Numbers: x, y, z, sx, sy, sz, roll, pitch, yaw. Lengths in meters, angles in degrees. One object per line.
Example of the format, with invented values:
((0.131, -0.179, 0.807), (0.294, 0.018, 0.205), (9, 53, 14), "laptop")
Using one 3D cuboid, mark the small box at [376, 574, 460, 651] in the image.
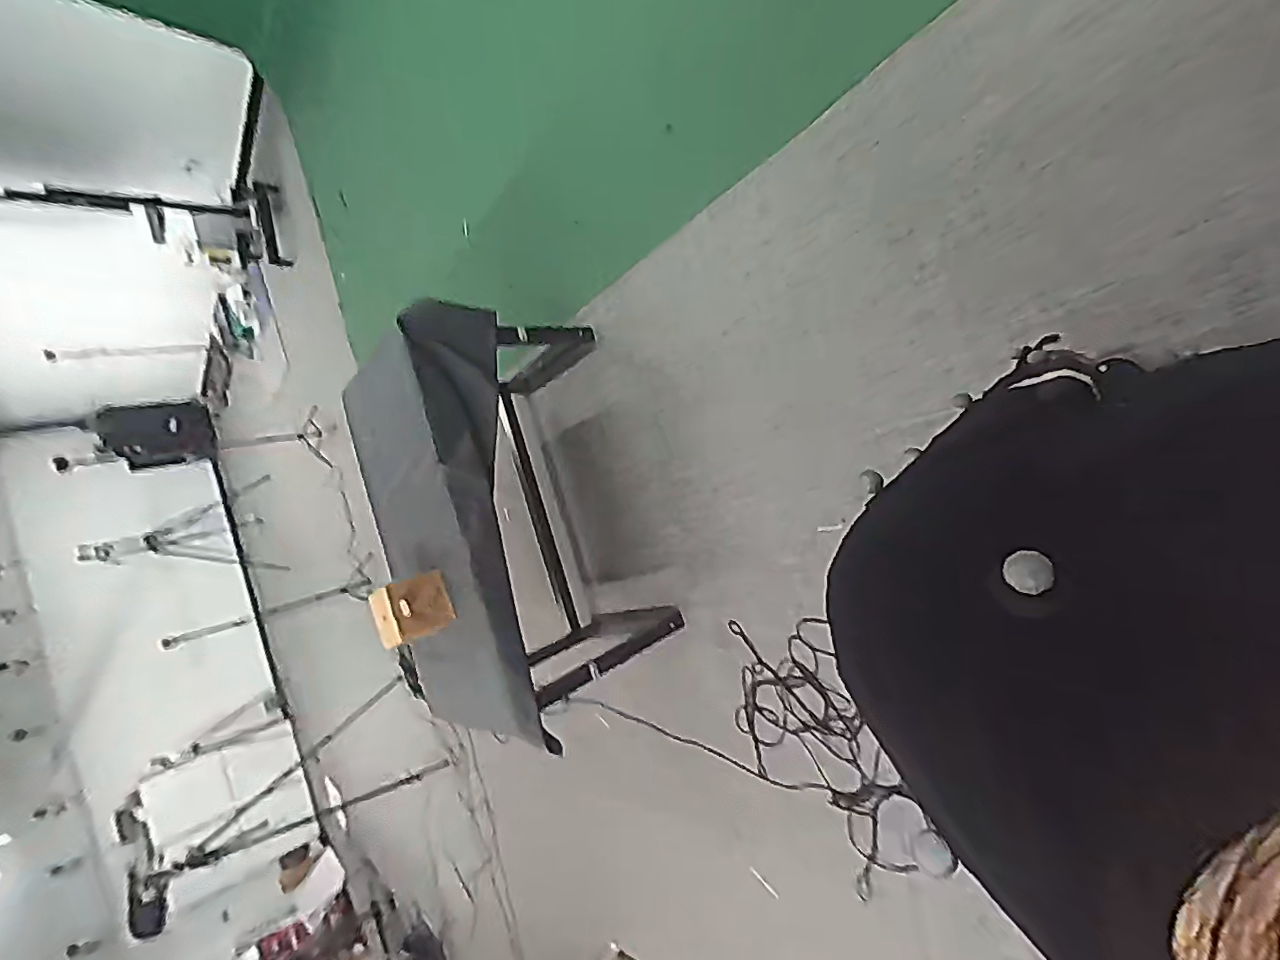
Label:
((-0.669, 0.399, 1.634), (0.179, 0.176, 0.168), (-32, 77, 45), "small box")
